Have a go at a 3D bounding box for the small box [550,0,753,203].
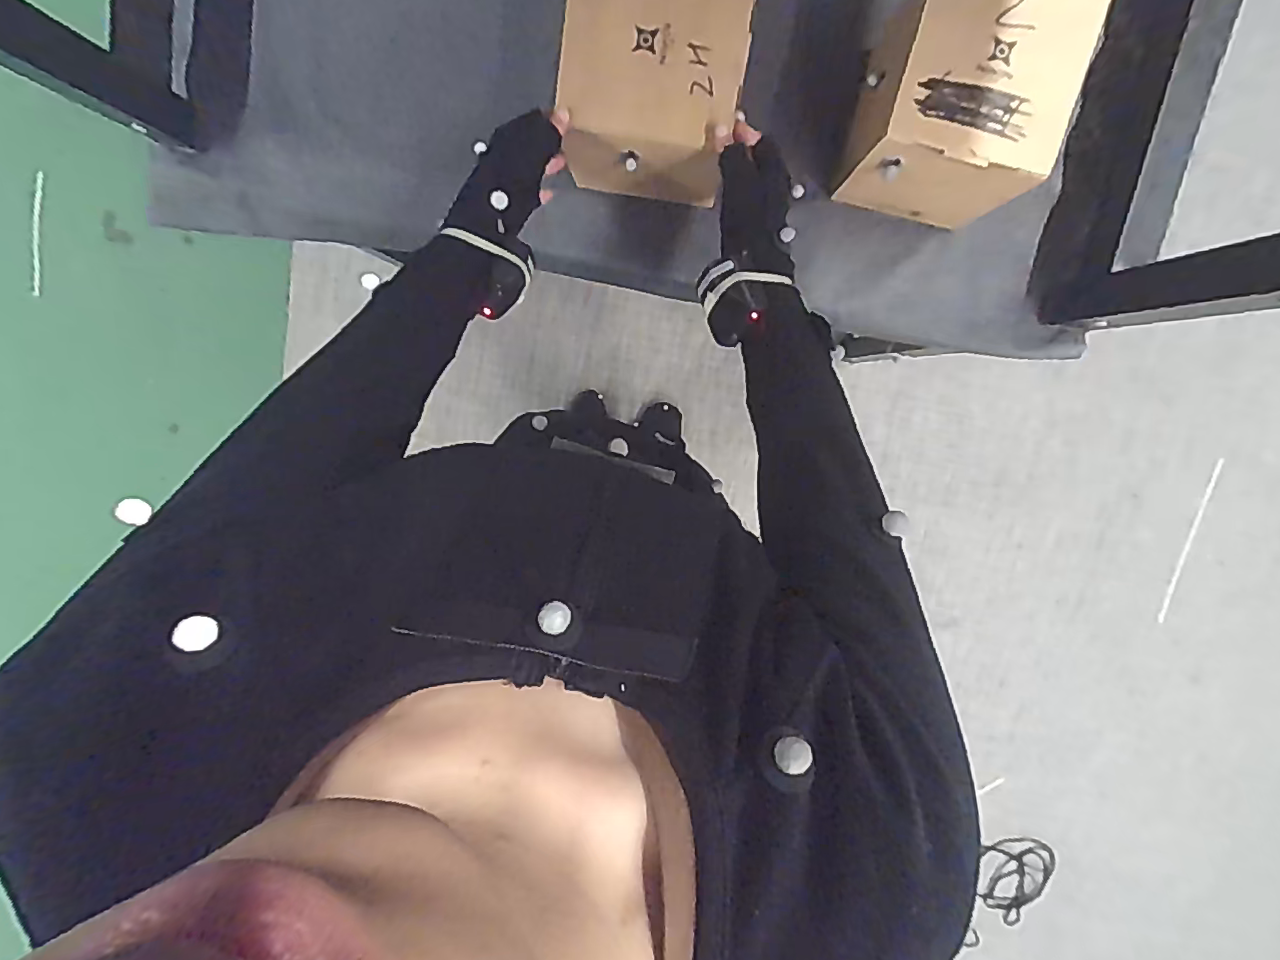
[{"bbox_3d":[0.014,-0.424,0.590,0.179,0.176,0.168,9,101,0],"label":"small box"}]
